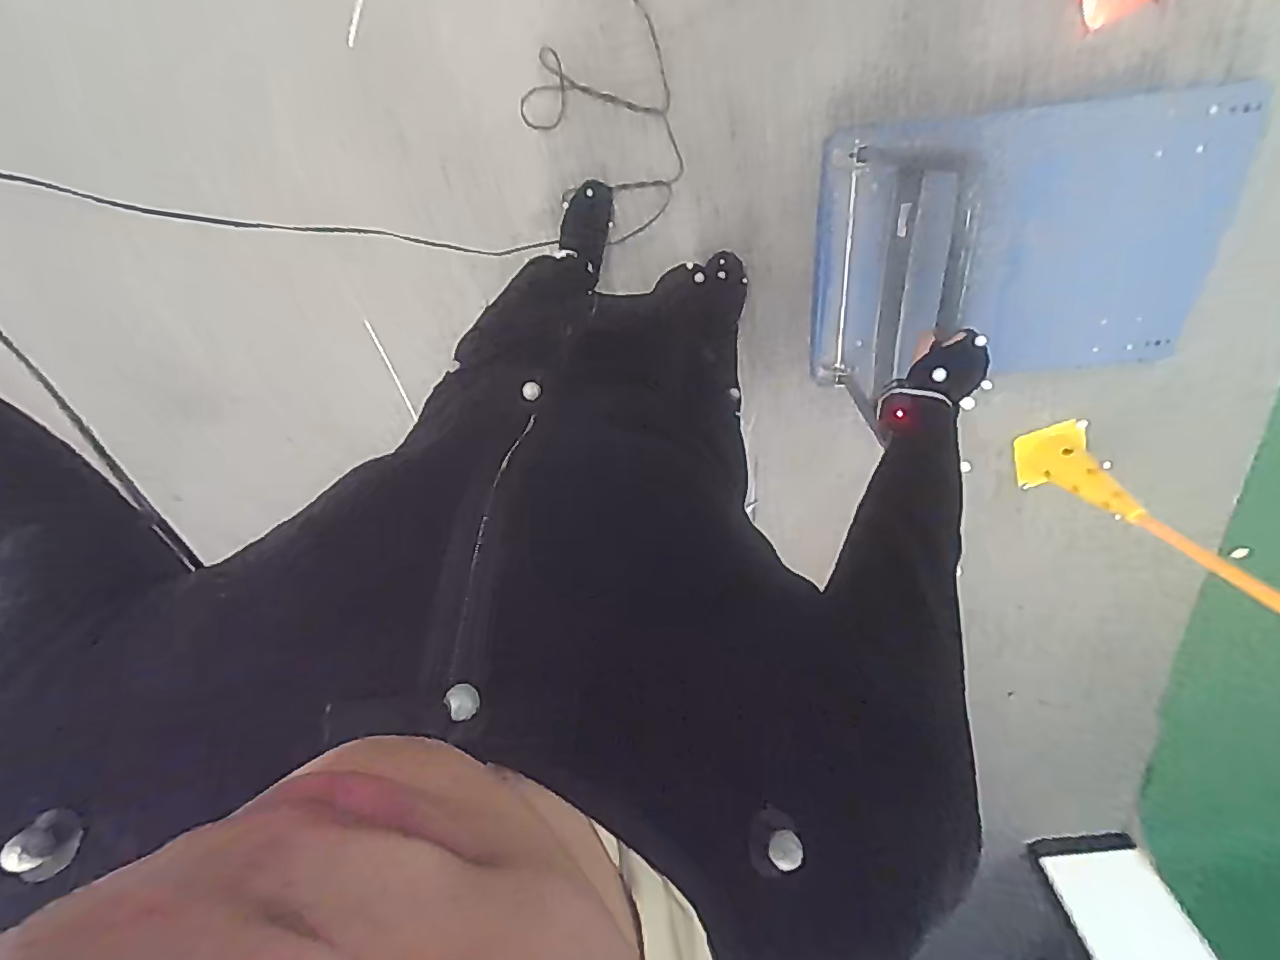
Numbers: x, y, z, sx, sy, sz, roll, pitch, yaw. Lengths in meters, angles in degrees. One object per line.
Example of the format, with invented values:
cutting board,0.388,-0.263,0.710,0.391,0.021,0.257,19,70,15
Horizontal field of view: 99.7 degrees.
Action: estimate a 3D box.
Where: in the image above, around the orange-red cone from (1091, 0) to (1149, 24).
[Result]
orange-red cone,1.004,-0.988,0.938,0.198,0.360,0.199,-24,116,15
